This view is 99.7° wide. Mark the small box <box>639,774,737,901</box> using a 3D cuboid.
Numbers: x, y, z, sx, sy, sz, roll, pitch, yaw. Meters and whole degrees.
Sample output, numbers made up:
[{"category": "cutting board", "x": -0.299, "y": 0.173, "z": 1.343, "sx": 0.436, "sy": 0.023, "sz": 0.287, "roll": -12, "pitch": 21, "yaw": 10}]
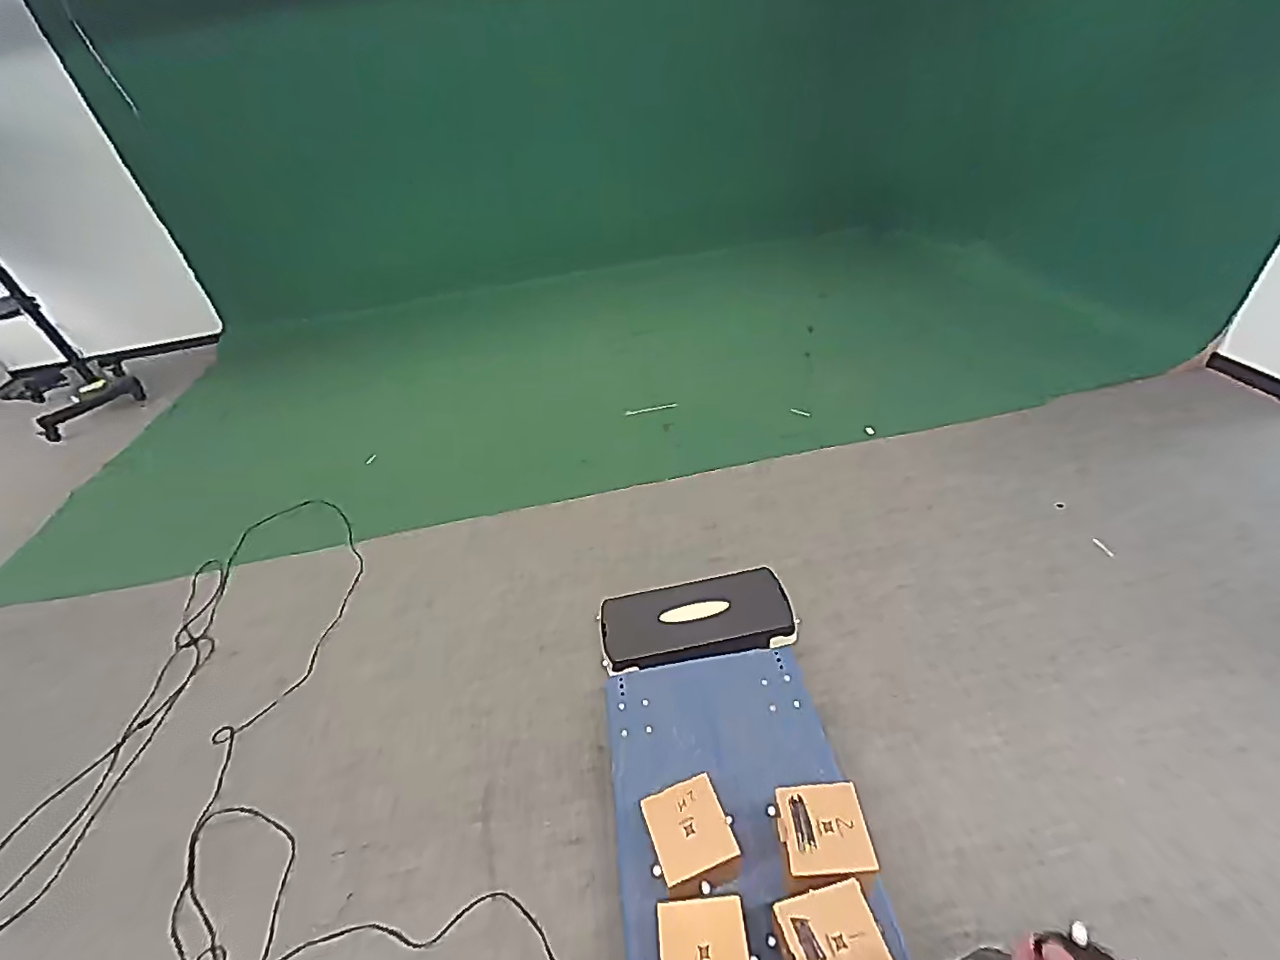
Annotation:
[{"category": "small box", "x": 0.109, "y": 0.808, "z": 1.214, "sx": 0.168, "sy": 0.176, "sz": 0.179, "roll": -16, "pitch": 40, "yaw": -12}]
